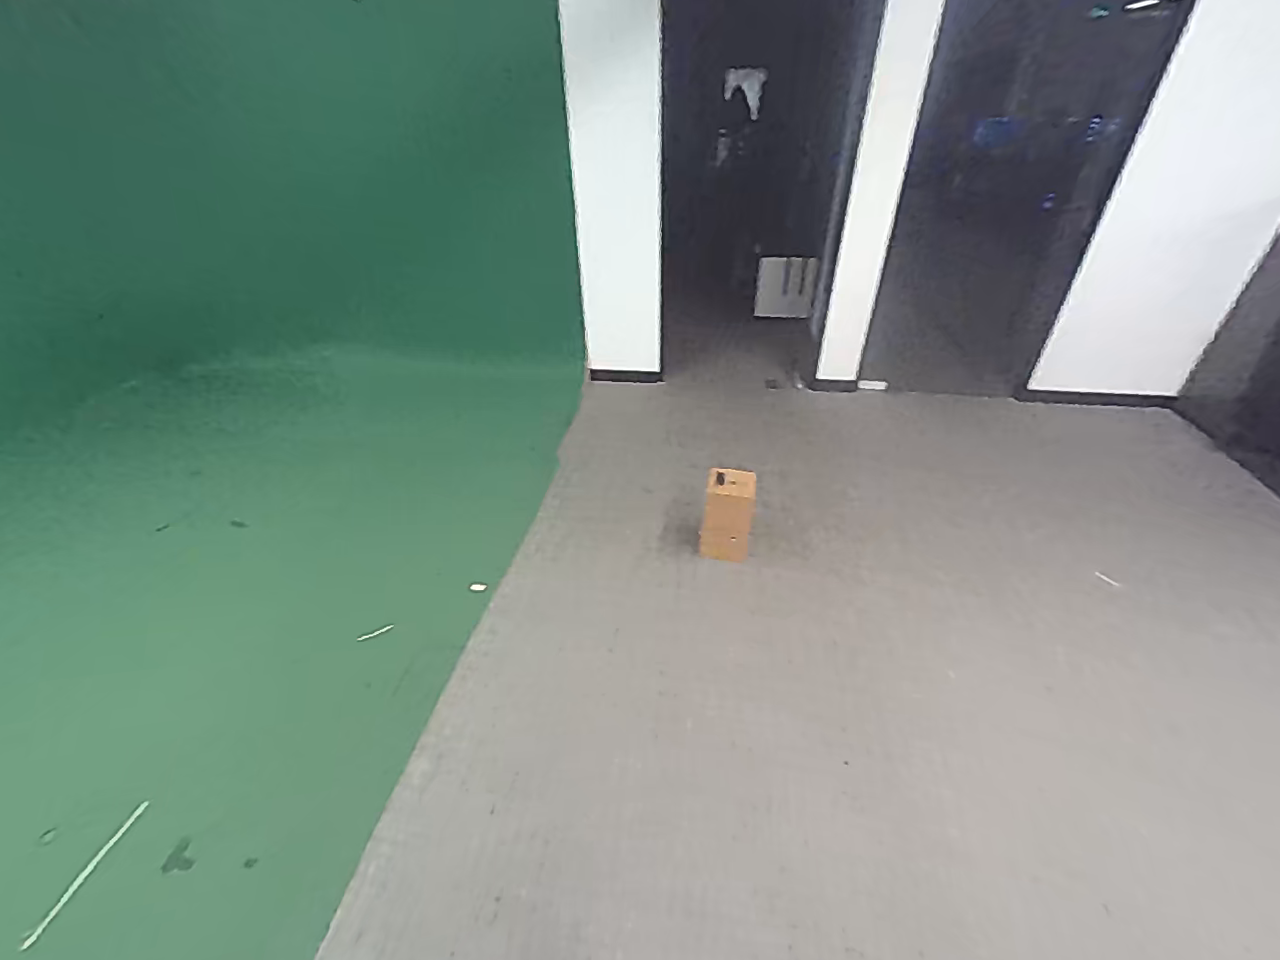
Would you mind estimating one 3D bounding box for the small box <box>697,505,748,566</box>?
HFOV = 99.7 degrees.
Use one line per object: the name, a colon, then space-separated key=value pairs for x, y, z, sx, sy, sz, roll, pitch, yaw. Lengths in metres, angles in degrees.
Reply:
small box: x=0.332 y=0.226 z=2.178 sx=0.179 sy=0.176 sz=0.168 roll=8 pitch=36 yaw=12
